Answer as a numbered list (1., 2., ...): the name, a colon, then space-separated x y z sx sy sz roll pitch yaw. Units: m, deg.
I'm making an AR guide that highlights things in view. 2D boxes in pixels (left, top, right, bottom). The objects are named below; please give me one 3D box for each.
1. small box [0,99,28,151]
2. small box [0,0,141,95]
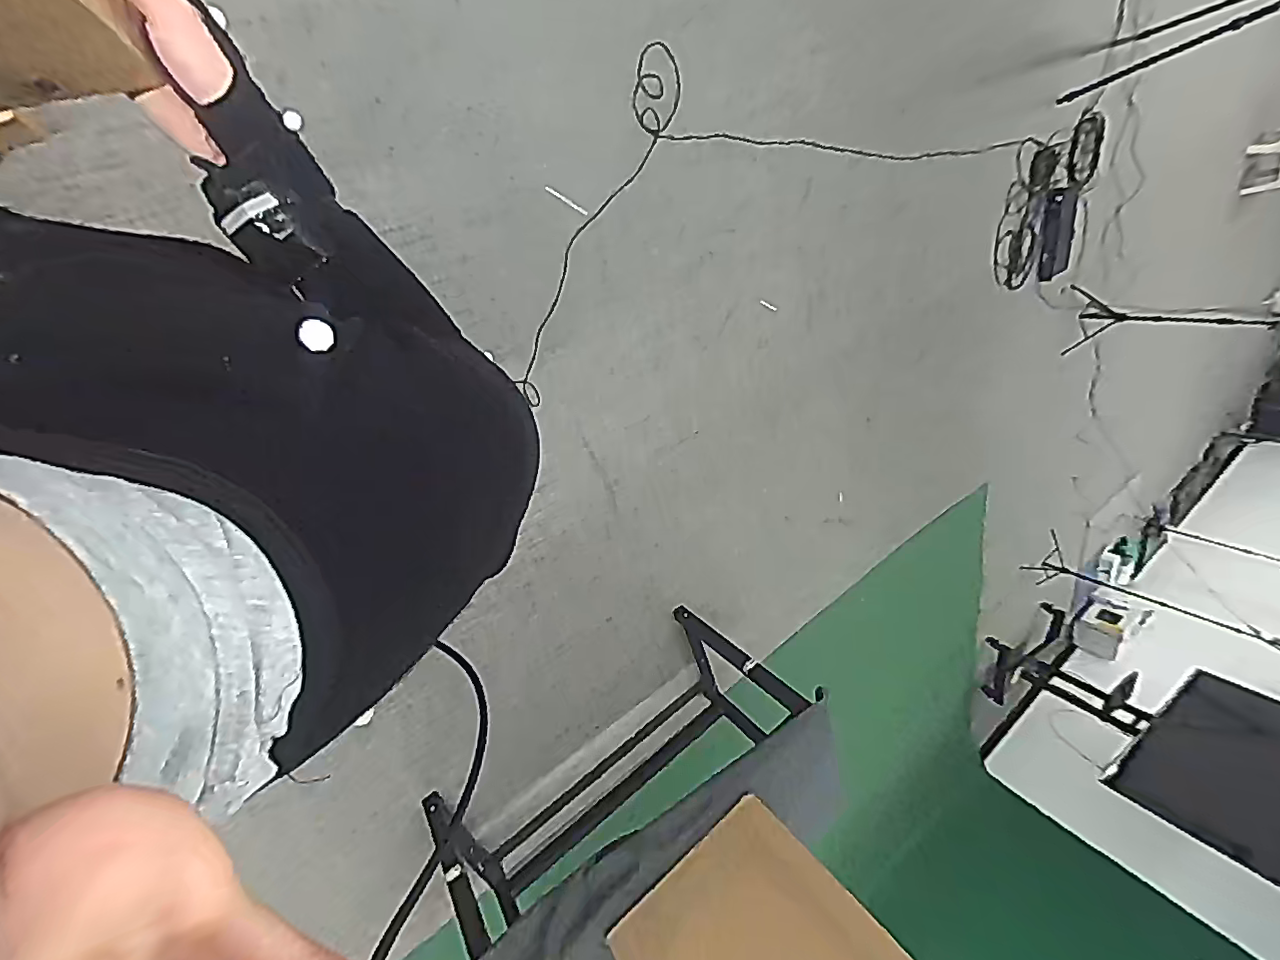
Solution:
1. small box: -1.157 -0.623 0.855 0.168 0.176 0.179 -37 125 -19
2. small box: -0.388 -0.291 0.237 0.168 0.176 0.179 -23 110 -14
